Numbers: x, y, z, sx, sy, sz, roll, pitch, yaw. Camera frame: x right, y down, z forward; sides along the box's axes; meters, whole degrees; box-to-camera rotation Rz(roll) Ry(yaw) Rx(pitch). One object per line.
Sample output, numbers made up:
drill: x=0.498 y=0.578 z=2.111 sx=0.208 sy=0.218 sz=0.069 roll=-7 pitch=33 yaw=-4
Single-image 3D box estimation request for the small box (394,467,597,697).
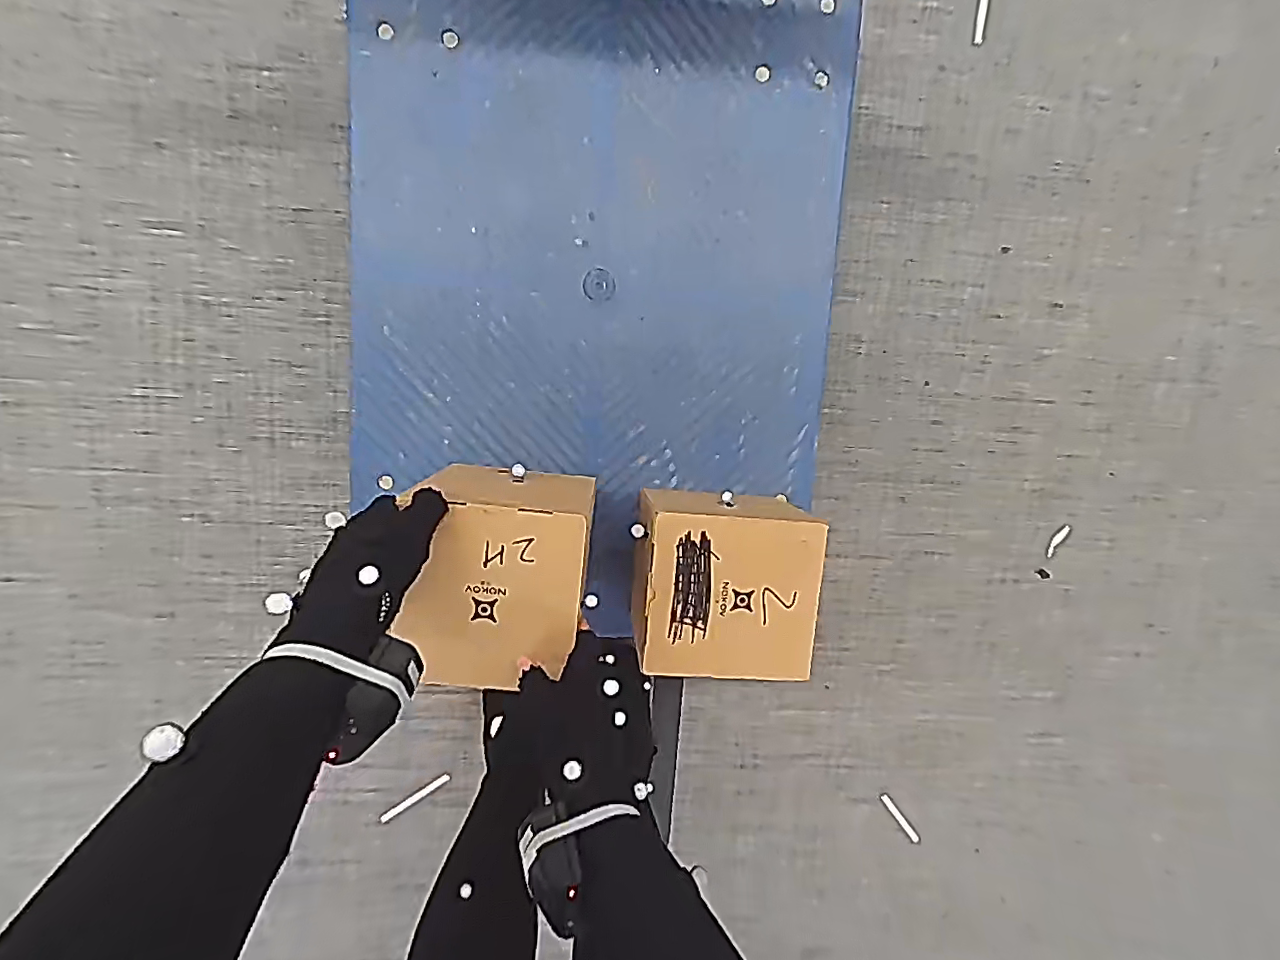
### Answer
small box: x=-0.136 y=0.093 z=0.561 sx=0.168 sy=0.176 sz=0.179 roll=7 pitch=101 yaw=-3
